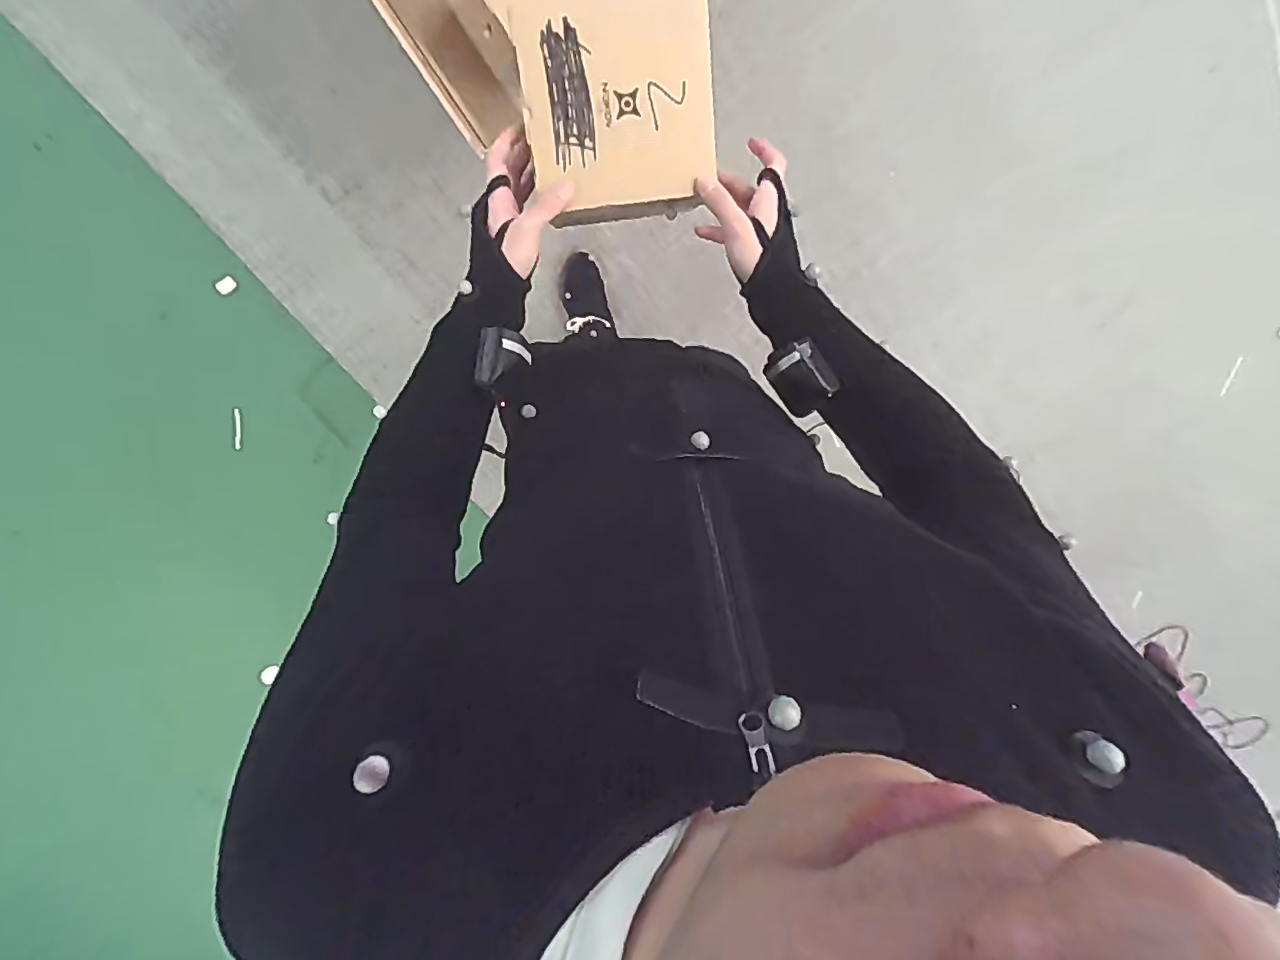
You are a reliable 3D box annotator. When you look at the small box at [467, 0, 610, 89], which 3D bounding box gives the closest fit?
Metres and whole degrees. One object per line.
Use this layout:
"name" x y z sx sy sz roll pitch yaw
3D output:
"small box" -0.160 -0.744 0.816 0.179 0.176 0.168 -35 111 5
